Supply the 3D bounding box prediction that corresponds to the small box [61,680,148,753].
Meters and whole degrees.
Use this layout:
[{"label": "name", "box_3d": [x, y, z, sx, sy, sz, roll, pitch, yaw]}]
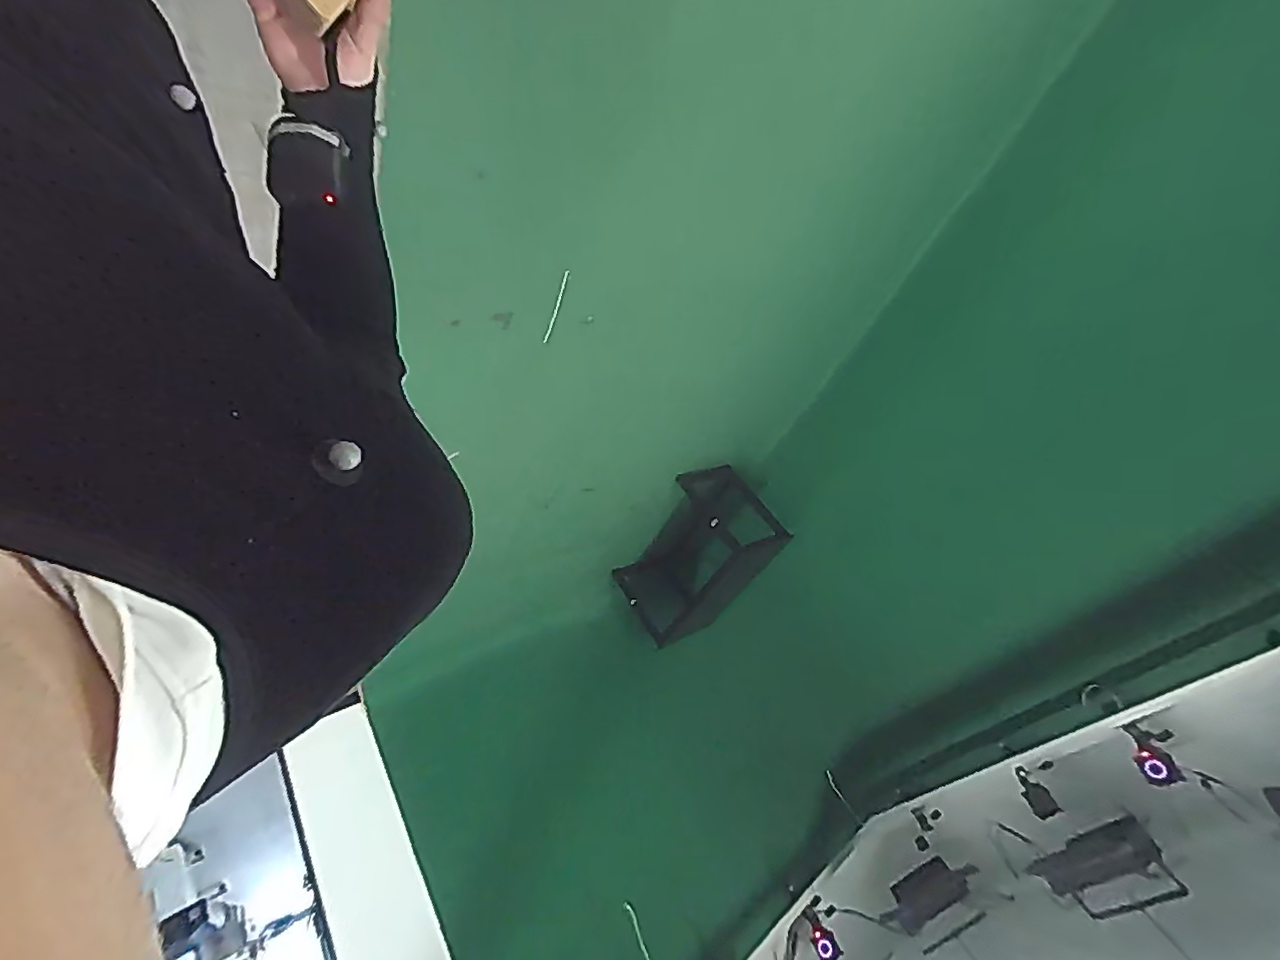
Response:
[{"label": "small box", "box_3d": [-1.604, 0.736, 1.625, 0.168, 0.176, 0.179, -12, 143, -41]}]
